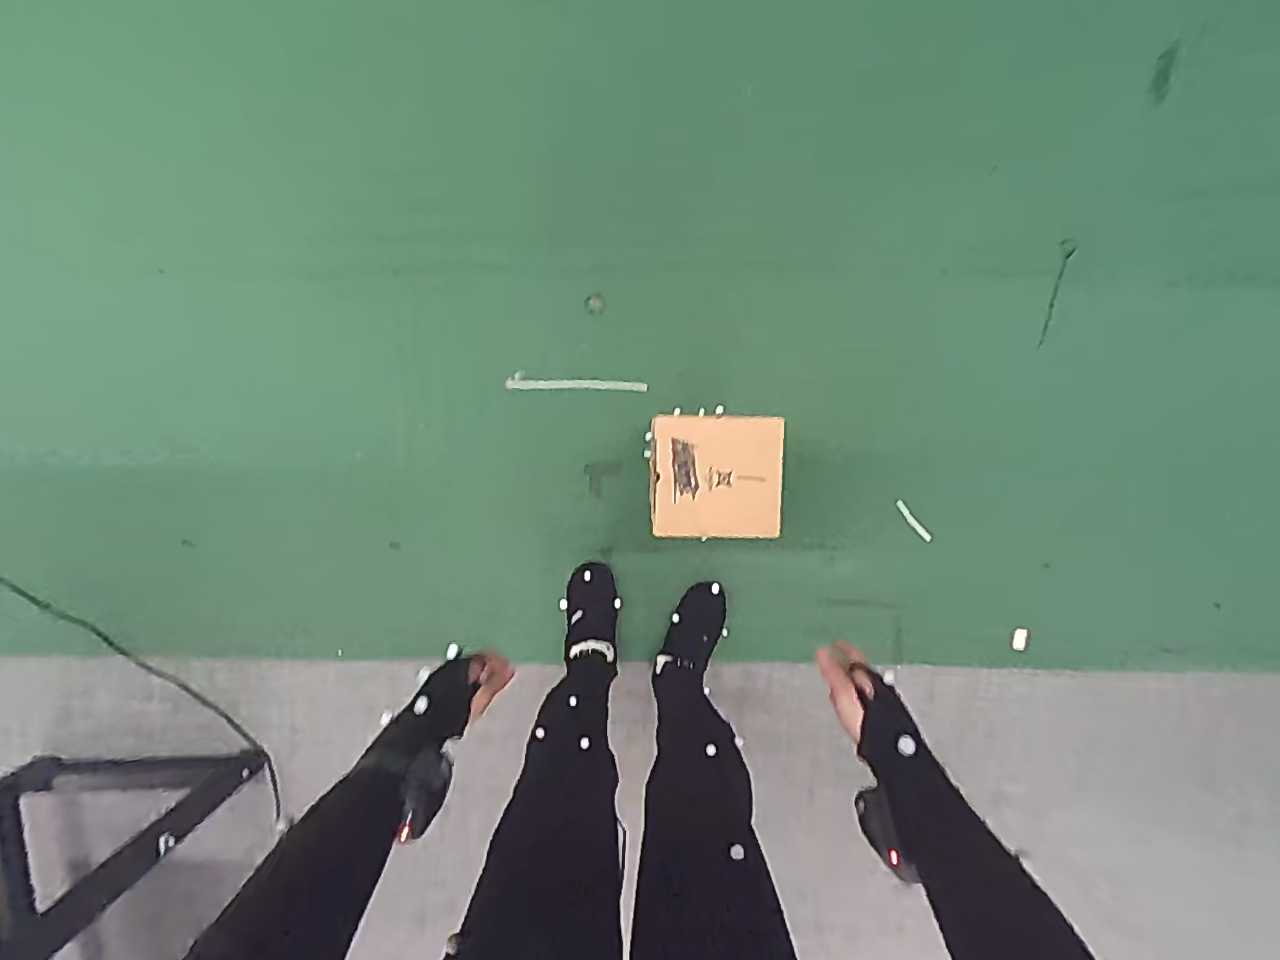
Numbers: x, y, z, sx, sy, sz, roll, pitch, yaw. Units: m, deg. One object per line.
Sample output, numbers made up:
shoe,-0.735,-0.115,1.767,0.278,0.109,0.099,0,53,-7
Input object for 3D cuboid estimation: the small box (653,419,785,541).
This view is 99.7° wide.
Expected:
small box,0.110,-0.007,0.817,0.179,0.176,0.168,1,96,1
